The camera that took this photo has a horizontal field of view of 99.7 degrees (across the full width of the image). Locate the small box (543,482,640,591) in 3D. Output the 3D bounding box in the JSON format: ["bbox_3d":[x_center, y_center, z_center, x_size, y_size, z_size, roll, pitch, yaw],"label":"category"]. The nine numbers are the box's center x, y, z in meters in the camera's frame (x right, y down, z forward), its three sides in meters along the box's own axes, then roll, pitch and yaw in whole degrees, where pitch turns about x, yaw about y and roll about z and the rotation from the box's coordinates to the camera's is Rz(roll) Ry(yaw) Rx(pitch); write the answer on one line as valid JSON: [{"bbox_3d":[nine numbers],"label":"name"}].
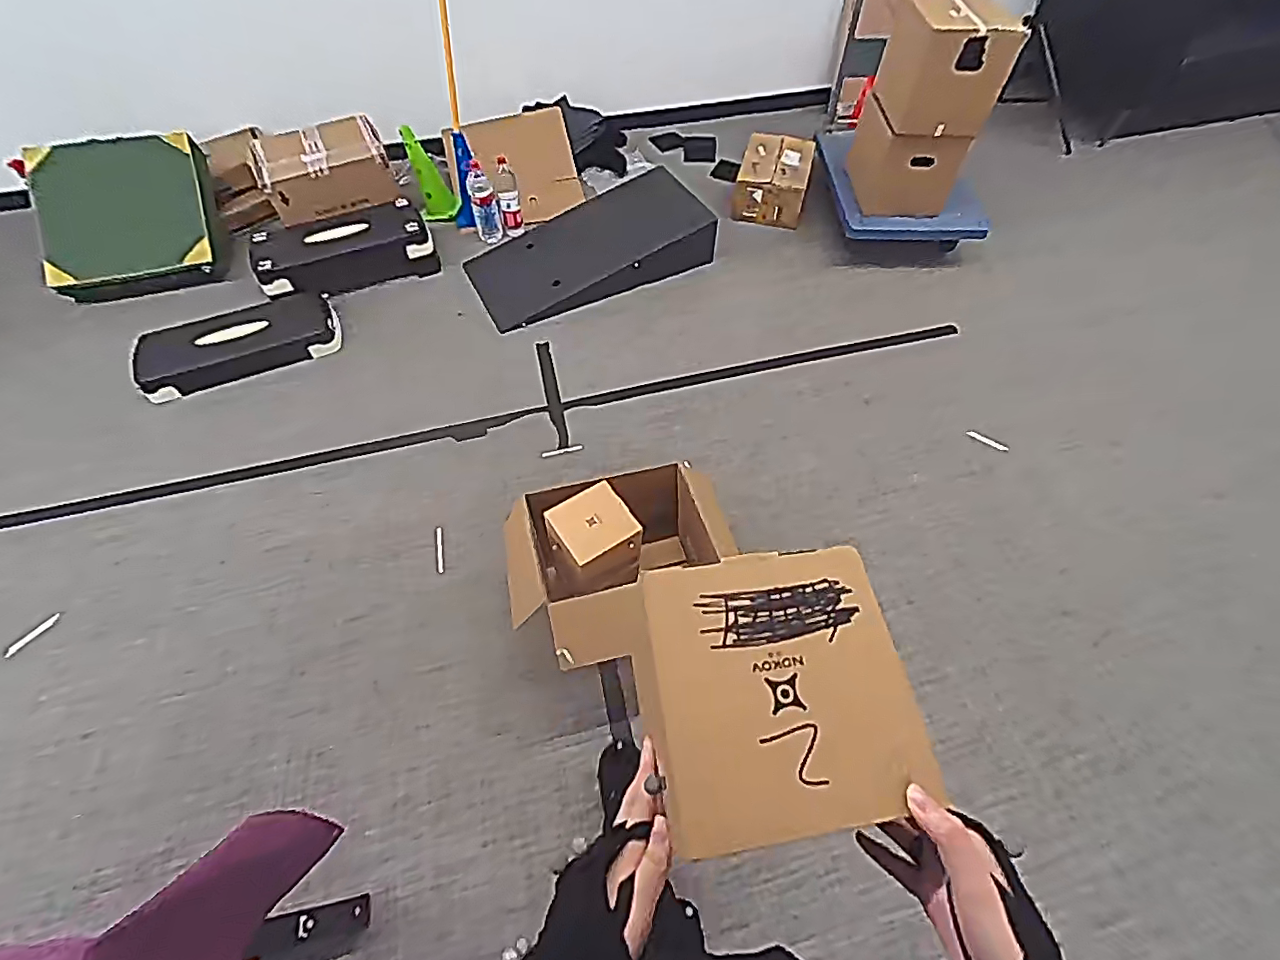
[{"bbox_3d":[-0.117,0.144,1.327,0.179,0.176,0.168,-29,63,-22],"label":"small box"}]
